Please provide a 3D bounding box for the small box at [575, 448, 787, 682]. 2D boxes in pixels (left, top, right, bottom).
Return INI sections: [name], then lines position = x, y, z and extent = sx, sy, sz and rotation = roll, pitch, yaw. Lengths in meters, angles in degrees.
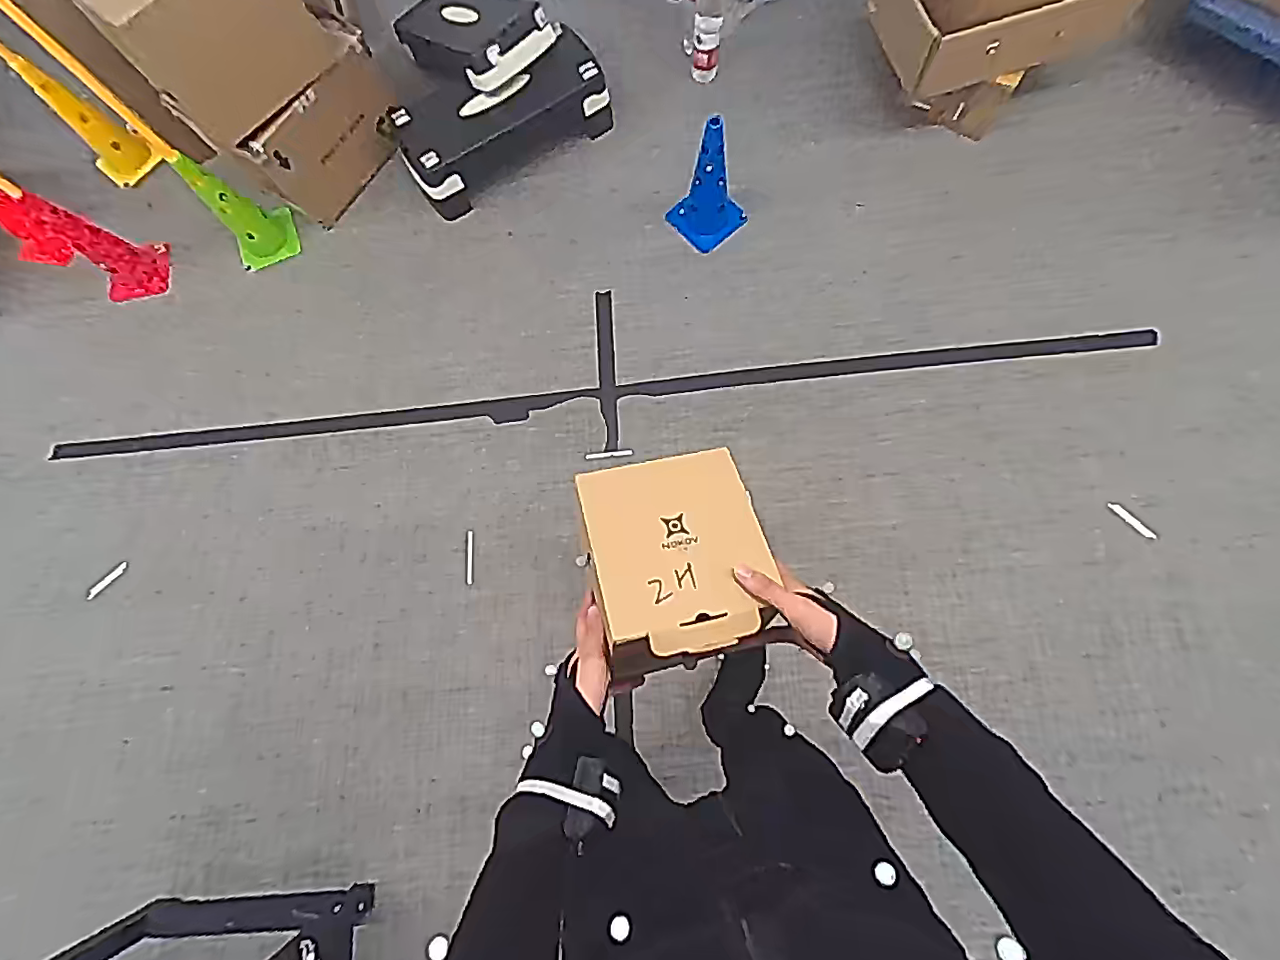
[small box]
position = 0.028, 0.094, 0.577
extent = 0.168, 0.176, 0.179
rotation = -12, 60, -10
